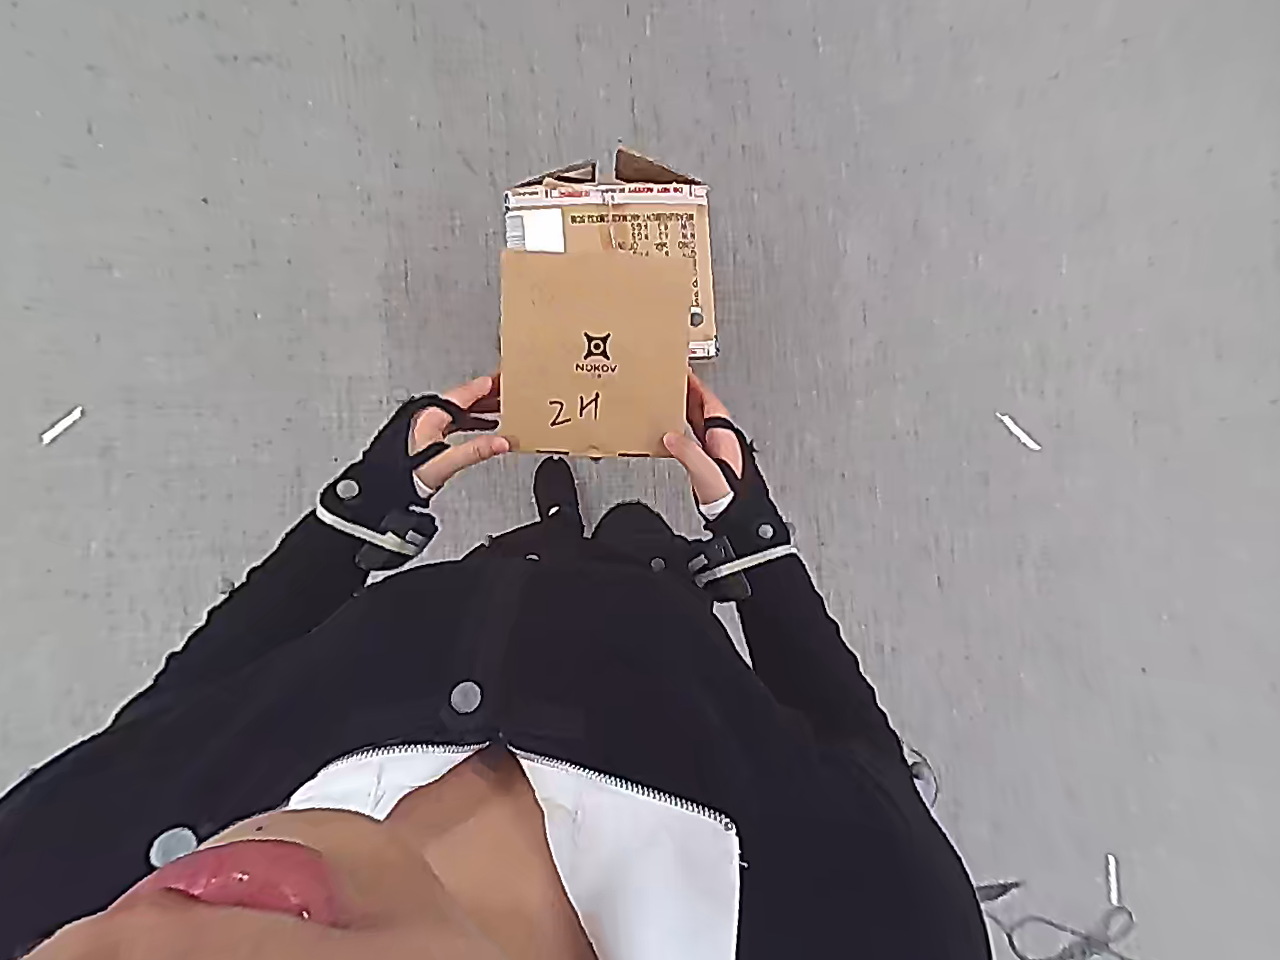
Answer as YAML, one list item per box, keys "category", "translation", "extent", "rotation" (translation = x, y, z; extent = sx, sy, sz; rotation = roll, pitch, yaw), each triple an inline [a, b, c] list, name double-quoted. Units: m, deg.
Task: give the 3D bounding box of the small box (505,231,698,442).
- category: "small box"
  translation: [-0.039, -0.134, 0.553]
  extent: [0.168, 0.176, 0.179]
  rotation: [2, 99, -3]
